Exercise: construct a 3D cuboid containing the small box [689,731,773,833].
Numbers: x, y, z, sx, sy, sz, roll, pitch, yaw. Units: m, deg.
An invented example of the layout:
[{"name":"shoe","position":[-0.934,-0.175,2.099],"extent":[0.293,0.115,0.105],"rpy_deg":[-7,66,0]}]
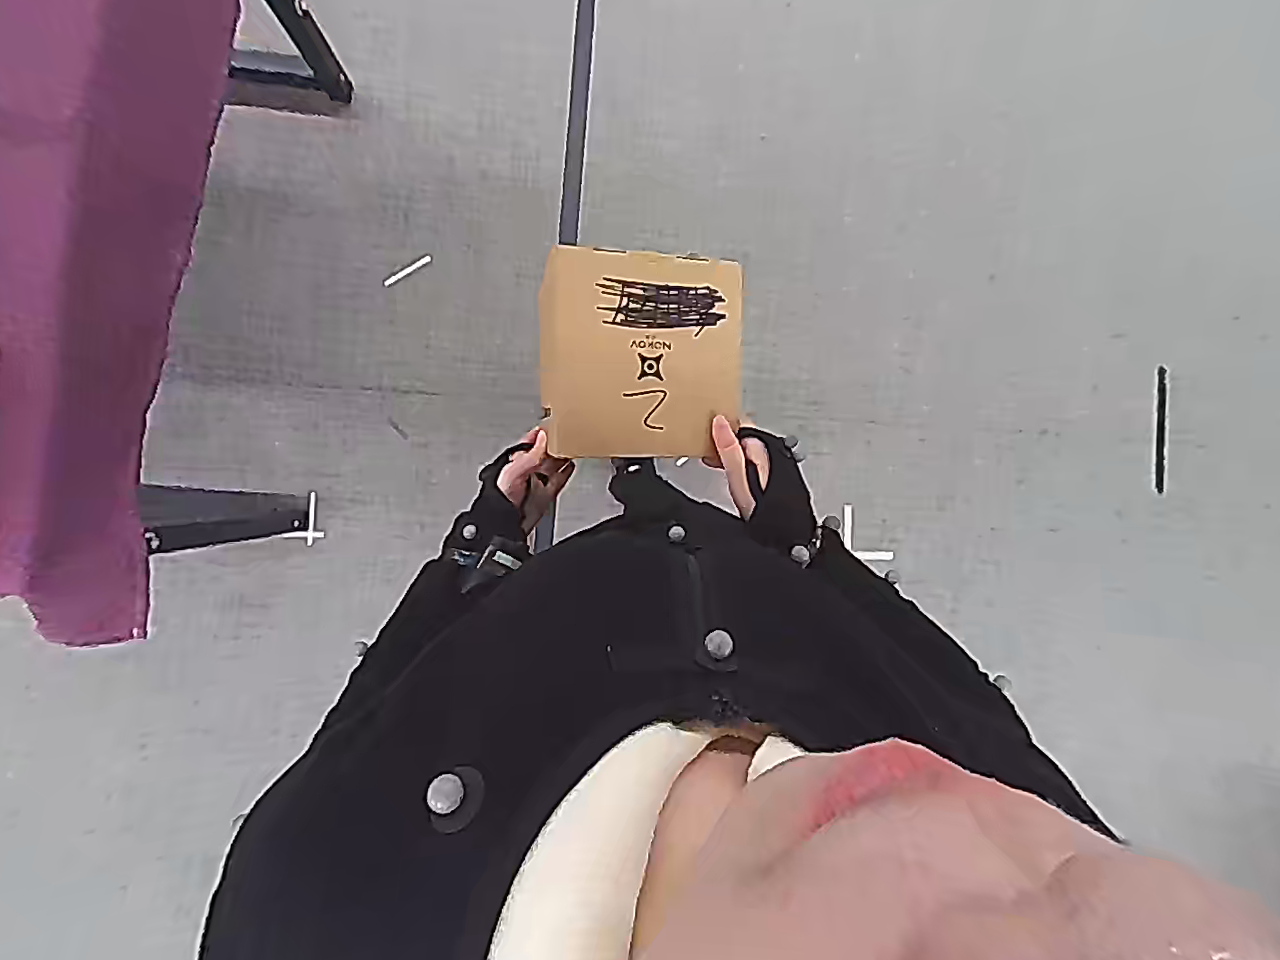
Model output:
[{"name":"small box","position":[0.235,0.791,1.433],"extent":[0.168,0.176,0.179],"rpy_deg":[9,89,-6]}]
